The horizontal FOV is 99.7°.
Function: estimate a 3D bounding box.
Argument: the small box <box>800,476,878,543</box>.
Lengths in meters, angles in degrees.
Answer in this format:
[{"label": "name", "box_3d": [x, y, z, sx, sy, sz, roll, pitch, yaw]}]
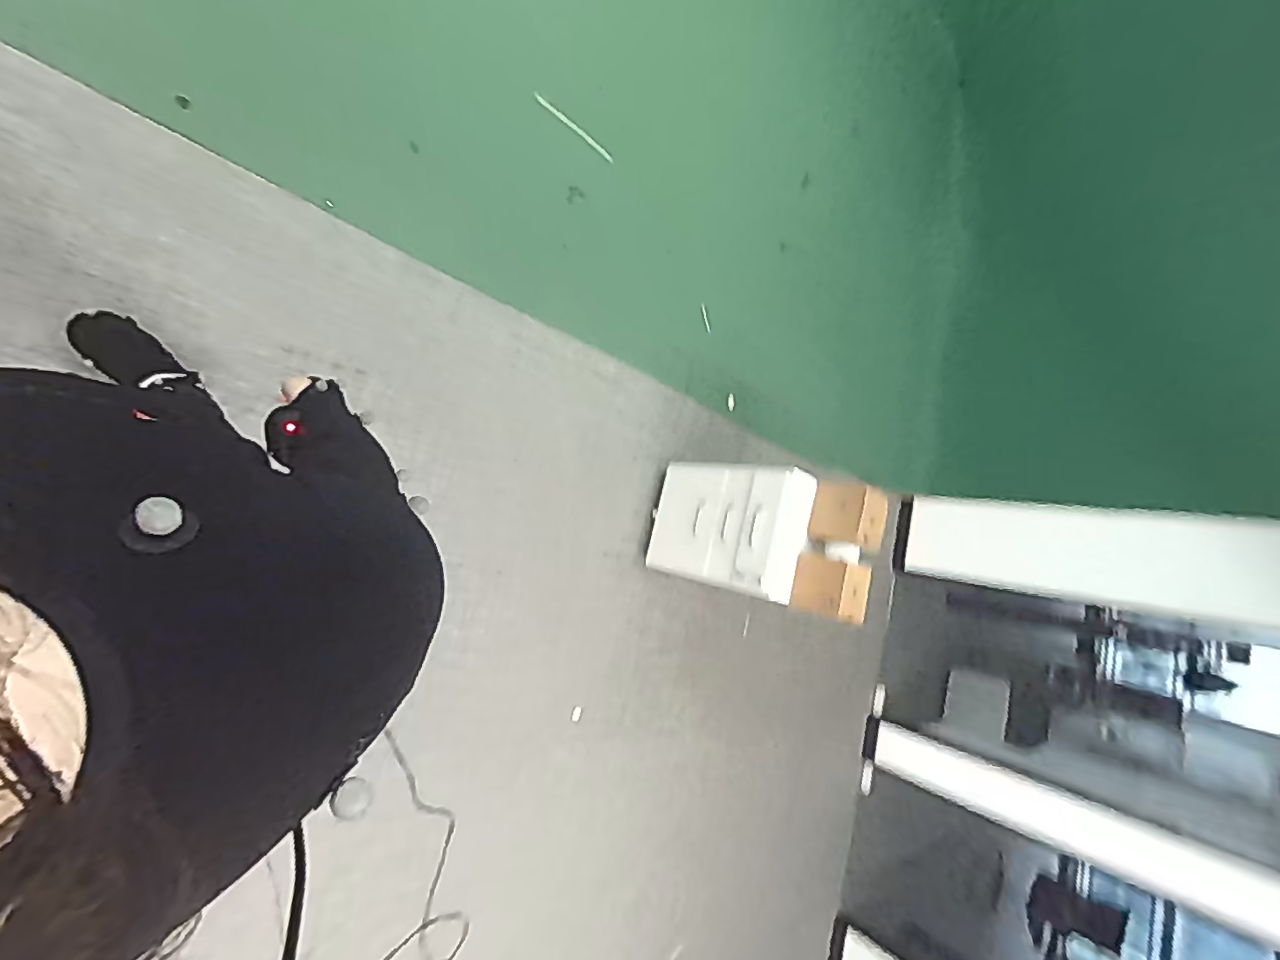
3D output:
[{"label": "small box", "box_3d": [0.636, 0.090, 1.736, 0.168, 0.176, 0.179, 20, 81, -41]}]
